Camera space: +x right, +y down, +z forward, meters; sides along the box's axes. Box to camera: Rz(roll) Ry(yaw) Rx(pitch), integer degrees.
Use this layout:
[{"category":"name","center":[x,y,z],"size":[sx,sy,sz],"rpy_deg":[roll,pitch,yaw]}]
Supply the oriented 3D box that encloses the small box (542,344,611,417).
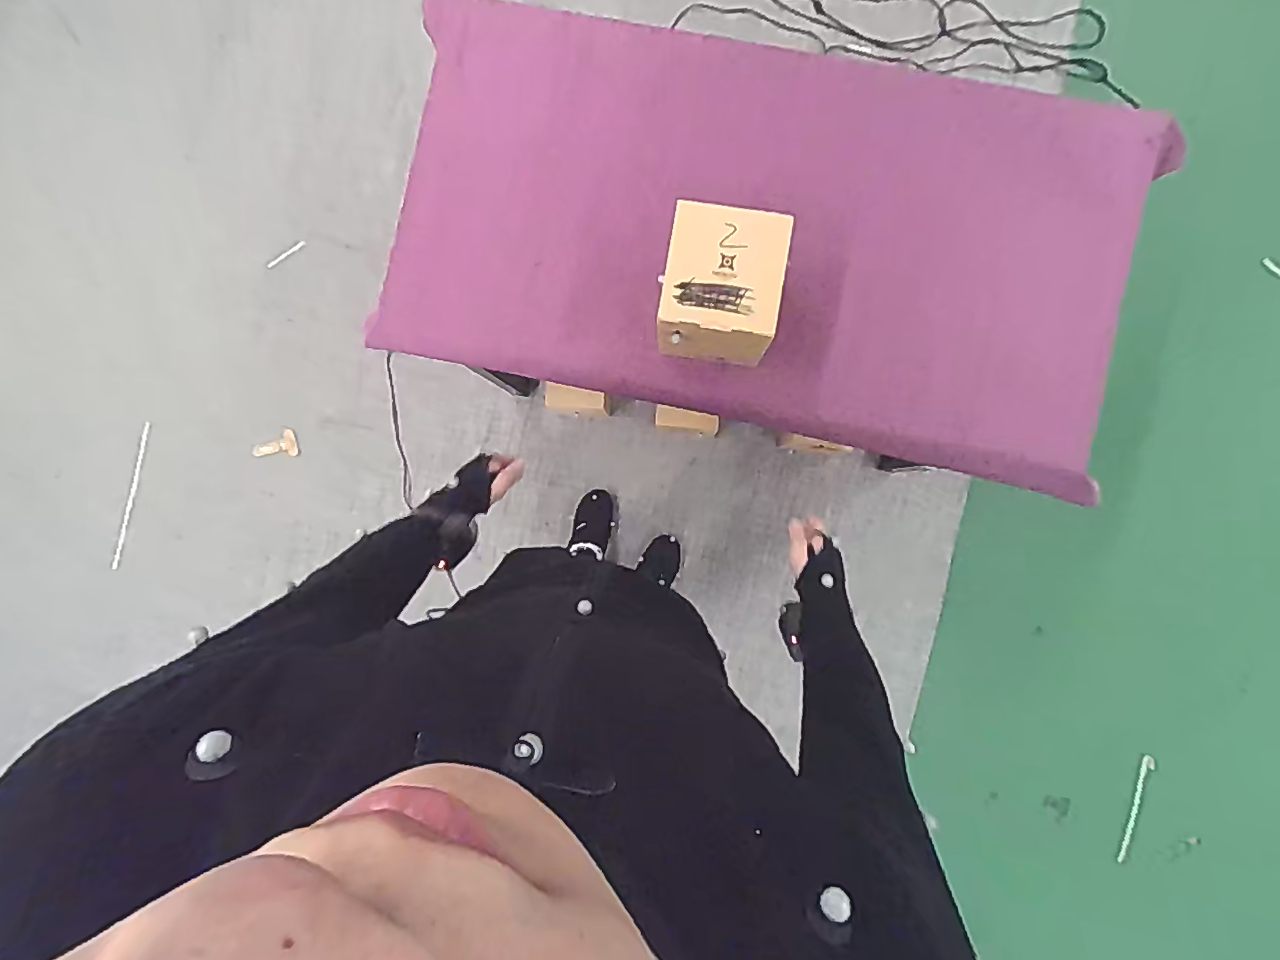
[{"category":"small box","center":[-0.176,-0.280,1.556],"size":[0.168,0.176,0.179],"rpy_deg":[4,89,3]}]

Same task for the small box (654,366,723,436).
[{"category":"small box","center":[0.135,-0.219,1.542],"size":[0.179,0.176,0.168],"rpy_deg":[6,88,3]}]

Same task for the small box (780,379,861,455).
[{"category":"small box","center":[0.500,-0.170,1.523],"size":[0.168,0.176,0.179],"rpy_deg":[10,88,2]}]
